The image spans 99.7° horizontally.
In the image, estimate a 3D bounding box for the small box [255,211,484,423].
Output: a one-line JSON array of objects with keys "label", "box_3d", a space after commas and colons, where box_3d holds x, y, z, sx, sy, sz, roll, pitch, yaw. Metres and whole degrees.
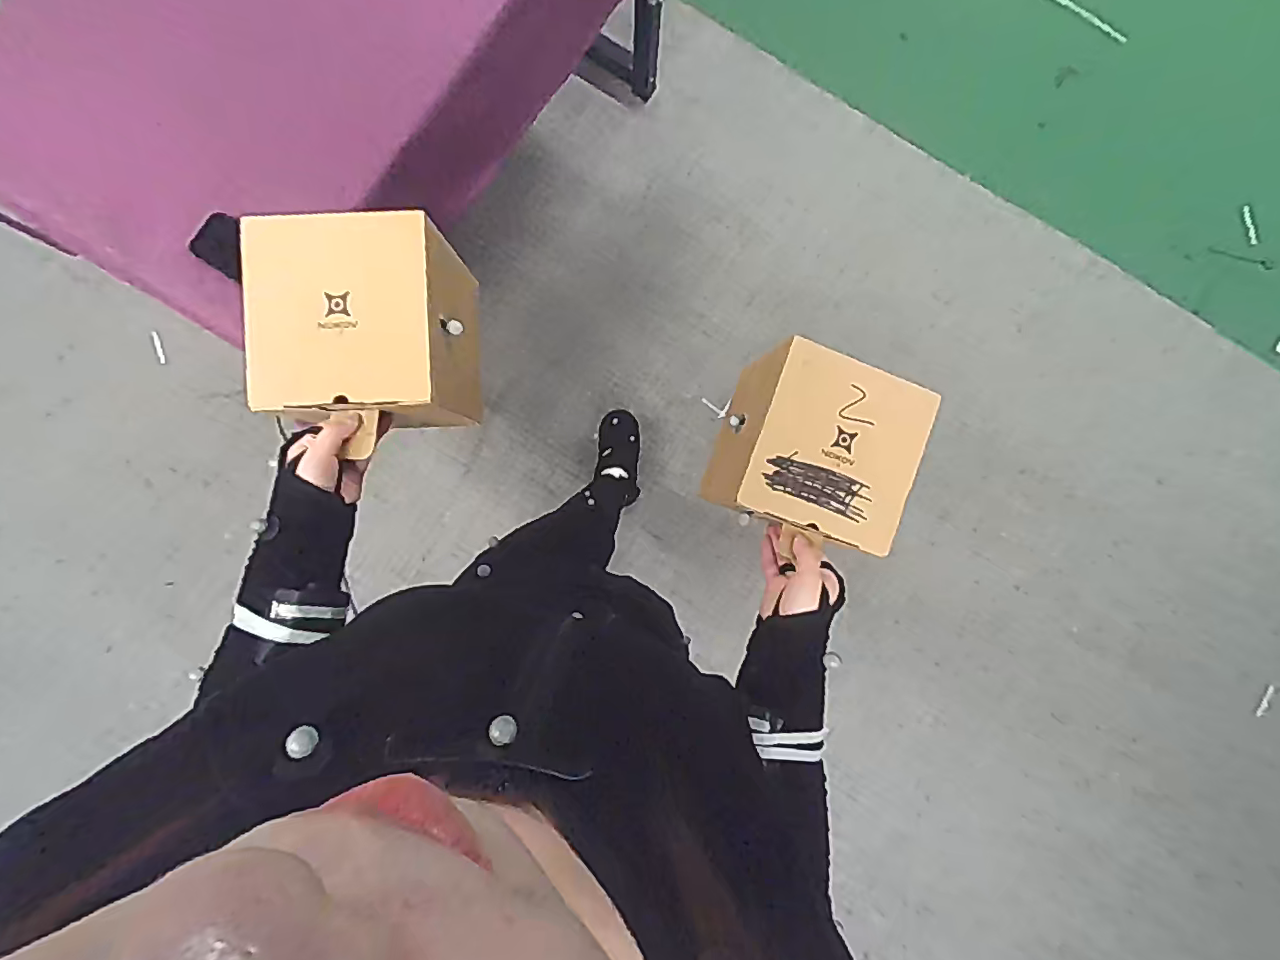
[{"label": "small box", "box_3d": [-0.270, -0.158, 0.575, 0.168, 0.176, 0.179, -2, 90, -1]}]
